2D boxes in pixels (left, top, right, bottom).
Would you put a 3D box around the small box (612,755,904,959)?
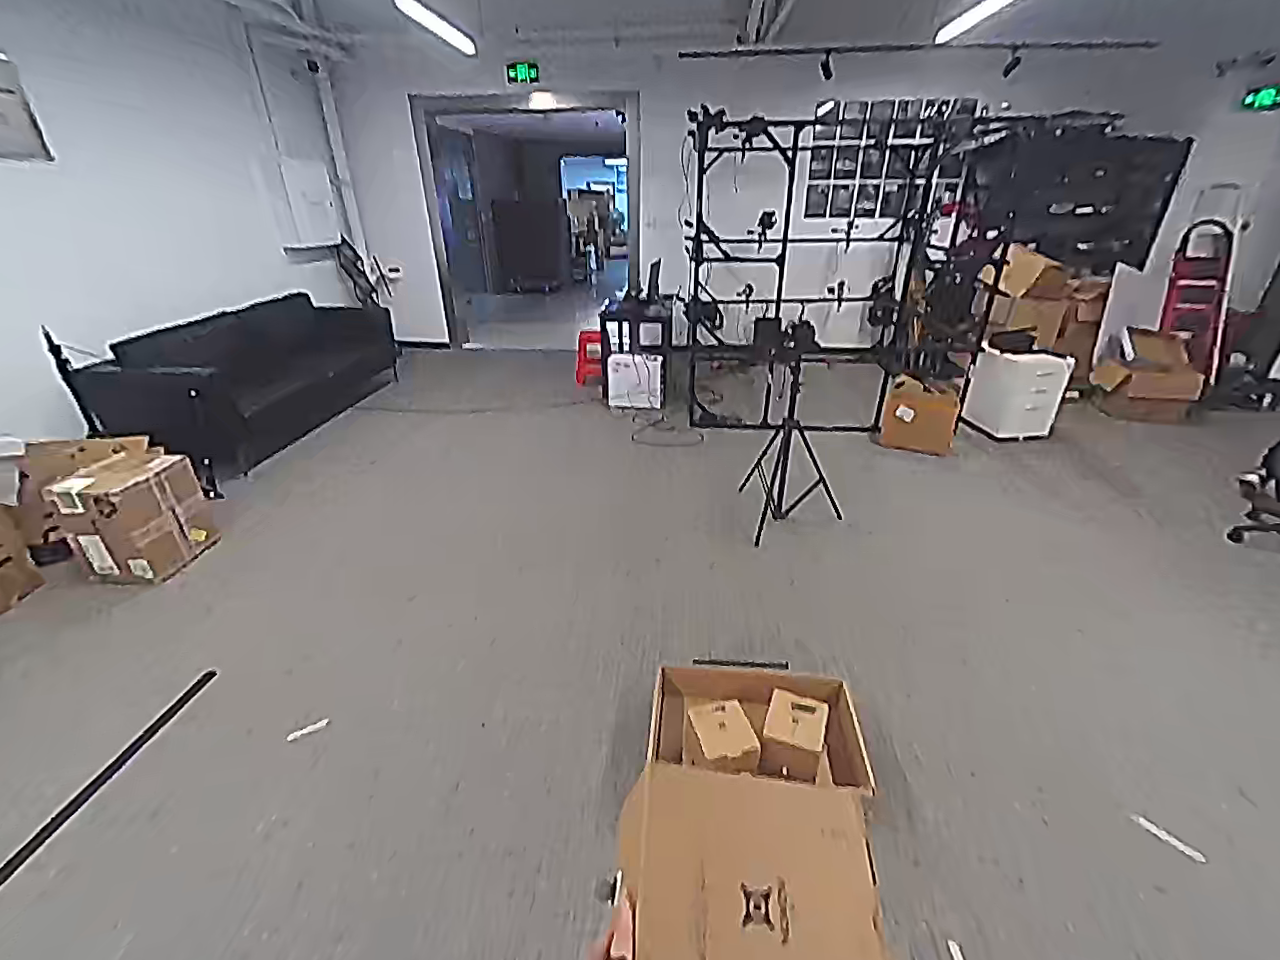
[{"bbox_3d":[0.078,0.337,0.423,0.179,0.176,0.168,9,46,-3],"label":"small box"}]
